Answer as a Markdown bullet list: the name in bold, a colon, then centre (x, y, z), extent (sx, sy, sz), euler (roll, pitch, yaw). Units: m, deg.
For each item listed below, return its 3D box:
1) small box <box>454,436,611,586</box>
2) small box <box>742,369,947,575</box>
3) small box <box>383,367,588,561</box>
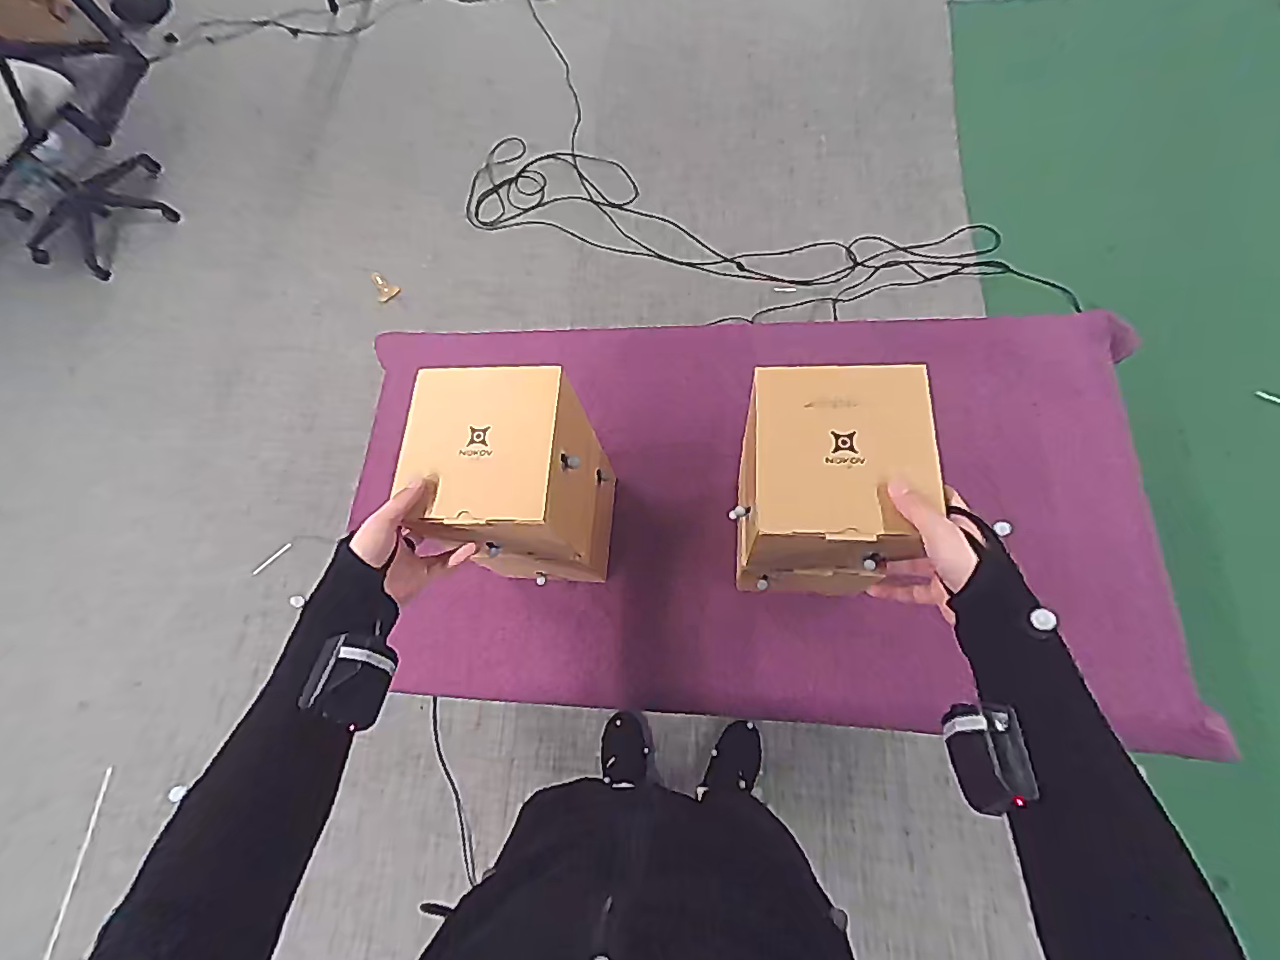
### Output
- **small box**: centre (-0.140, 0.046, 0.775), extent (0.168, 0.176, 0.179), euler (2, 70, 9)
- **small box**: centre (0.198, 0.000, 0.573), extent (0.168, 0.176, 0.179), euler (1, 70, 7)
- **small box**: centre (-0.159, -0.012, 0.624), extent (0.168, 0.176, 0.179), euler (1, 70, 7)
